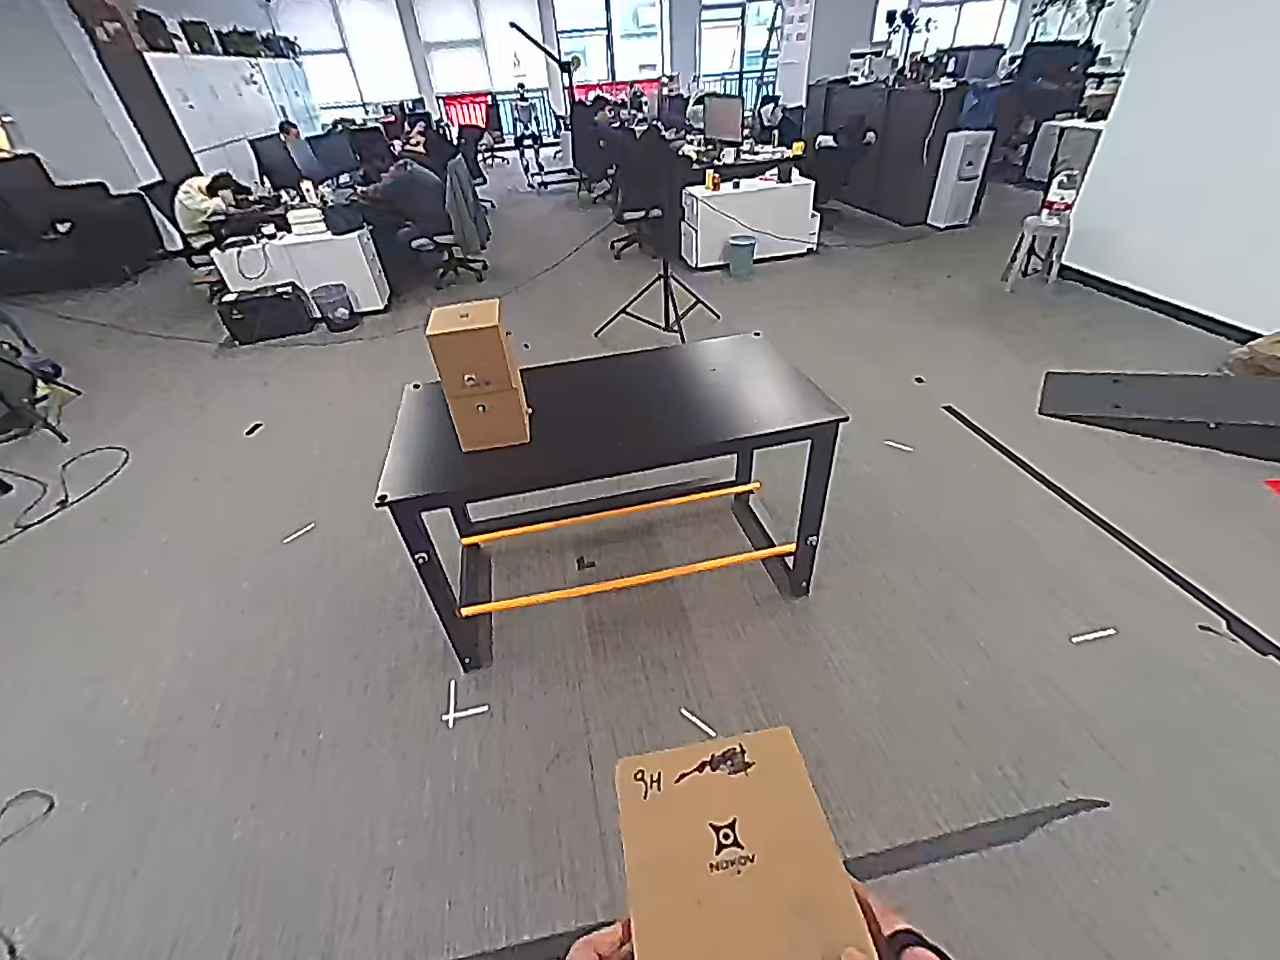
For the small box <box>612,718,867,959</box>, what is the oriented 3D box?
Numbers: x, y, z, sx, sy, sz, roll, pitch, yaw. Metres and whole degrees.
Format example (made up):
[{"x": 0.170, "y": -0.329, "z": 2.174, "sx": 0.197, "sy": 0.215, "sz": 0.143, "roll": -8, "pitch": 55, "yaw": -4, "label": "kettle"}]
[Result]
[{"x": 0.075, "y": 0.349, "z": 0.478, "sx": 0.168, "sy": 0.176, "sz": 0.179, "roll": -10, "pitch": 37, "yaw": -3, "label": "small box"}]

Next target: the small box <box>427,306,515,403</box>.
[{"x": -0.411, "y": -0.312, "z": 1.340, "sx": 0.168, "sy": 0.176, "sz": 0.179, "roll": -11, "pitch": 39, "yaw": -6, "label": "small box"}]

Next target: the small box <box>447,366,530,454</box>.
[{"x": -0.398, "y": -0.185, "z": 1.441, "sx": 0.179, "sy": 0.176, "sz": 0.168, "roll": -9, "pitch": 38, "yaw": -7, "label": "small box"}]
